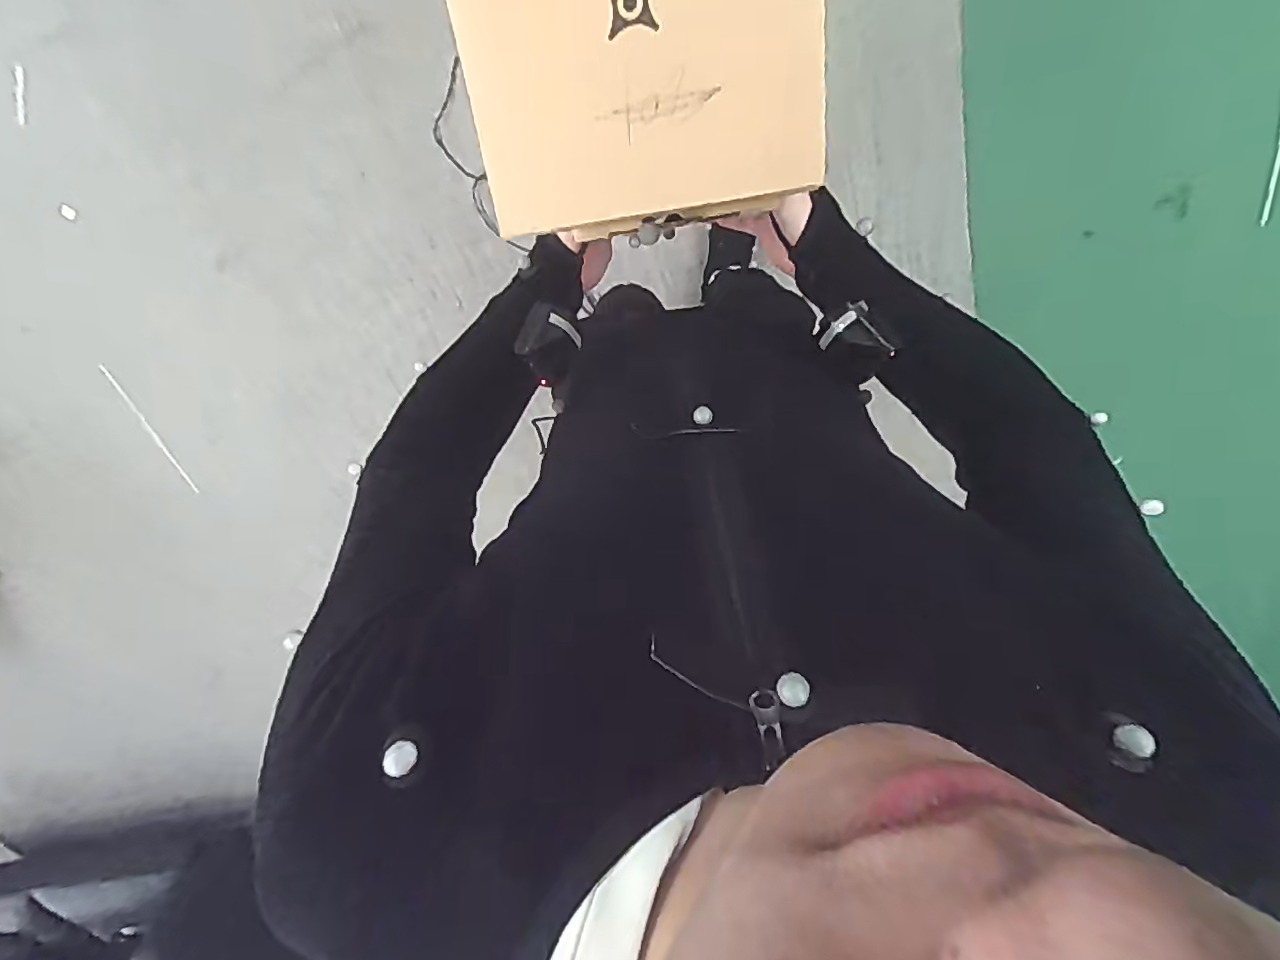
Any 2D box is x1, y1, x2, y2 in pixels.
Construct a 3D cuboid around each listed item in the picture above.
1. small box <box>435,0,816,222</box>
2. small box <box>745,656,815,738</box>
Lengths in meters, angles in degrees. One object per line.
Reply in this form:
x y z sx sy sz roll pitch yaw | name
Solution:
0.000 -0.249 0.300 0.168 0.176 0.179 -4 116 11 | small box
0.447 0.692 1.744 0.168 0.176 0.179 -19 115 15 | small box
